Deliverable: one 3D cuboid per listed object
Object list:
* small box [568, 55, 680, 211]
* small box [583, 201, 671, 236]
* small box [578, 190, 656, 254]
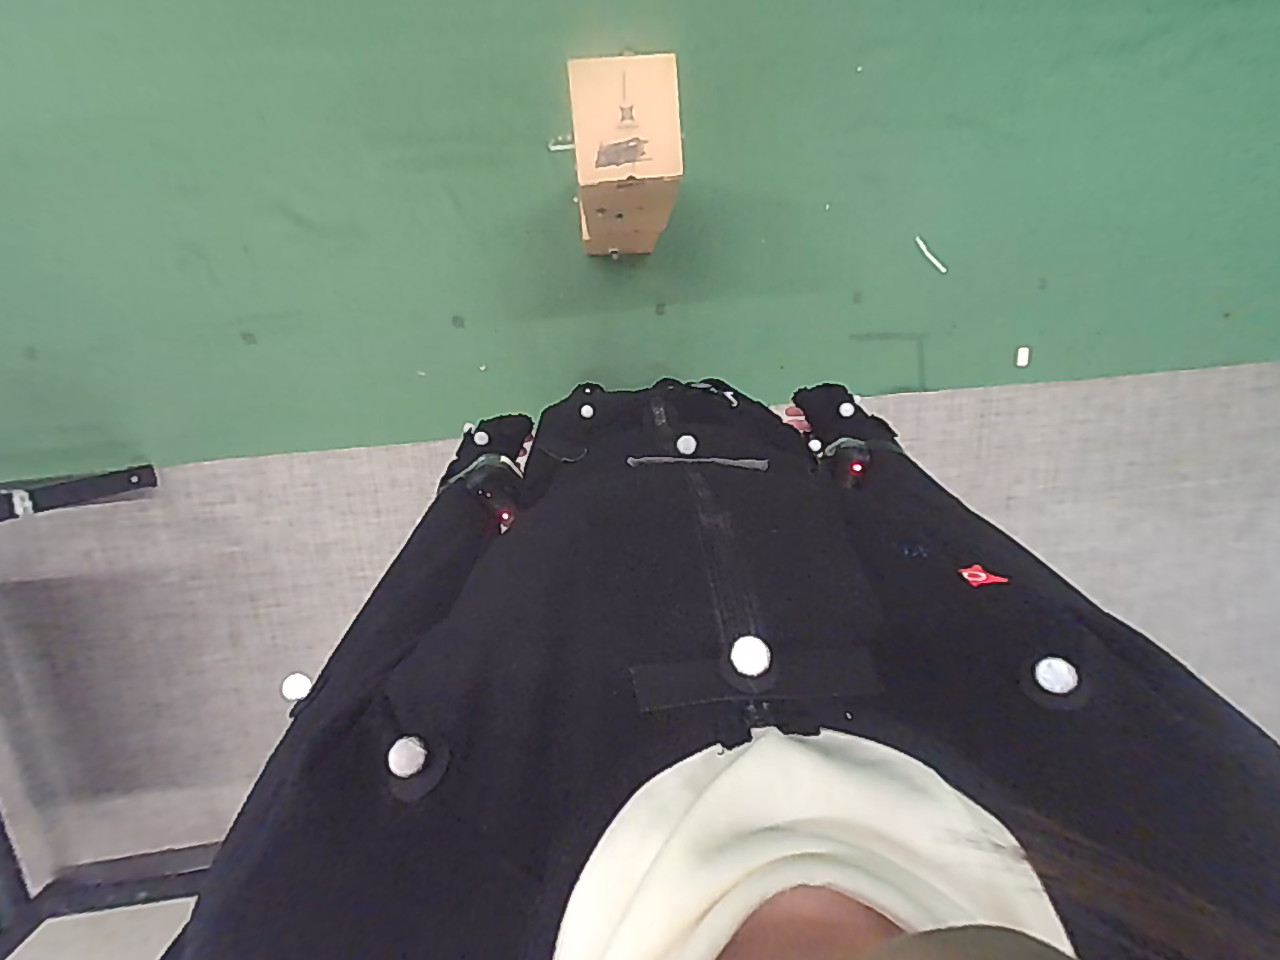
[{"bbox_3d":[-0.026,-0.564,0.904,0.168,0.176,0.179,-5,100,-3],"label":"small box"},{"bbox_3d":[-0.033,-0.596,1.066,0.168,0.176,0.179,-5,100,-2],"label":"small box"},{"bbox_3d":[-0.052,-0.617,1.208,0.168,0.176,0.179,-2,101,-2],"label":"small box"}]
